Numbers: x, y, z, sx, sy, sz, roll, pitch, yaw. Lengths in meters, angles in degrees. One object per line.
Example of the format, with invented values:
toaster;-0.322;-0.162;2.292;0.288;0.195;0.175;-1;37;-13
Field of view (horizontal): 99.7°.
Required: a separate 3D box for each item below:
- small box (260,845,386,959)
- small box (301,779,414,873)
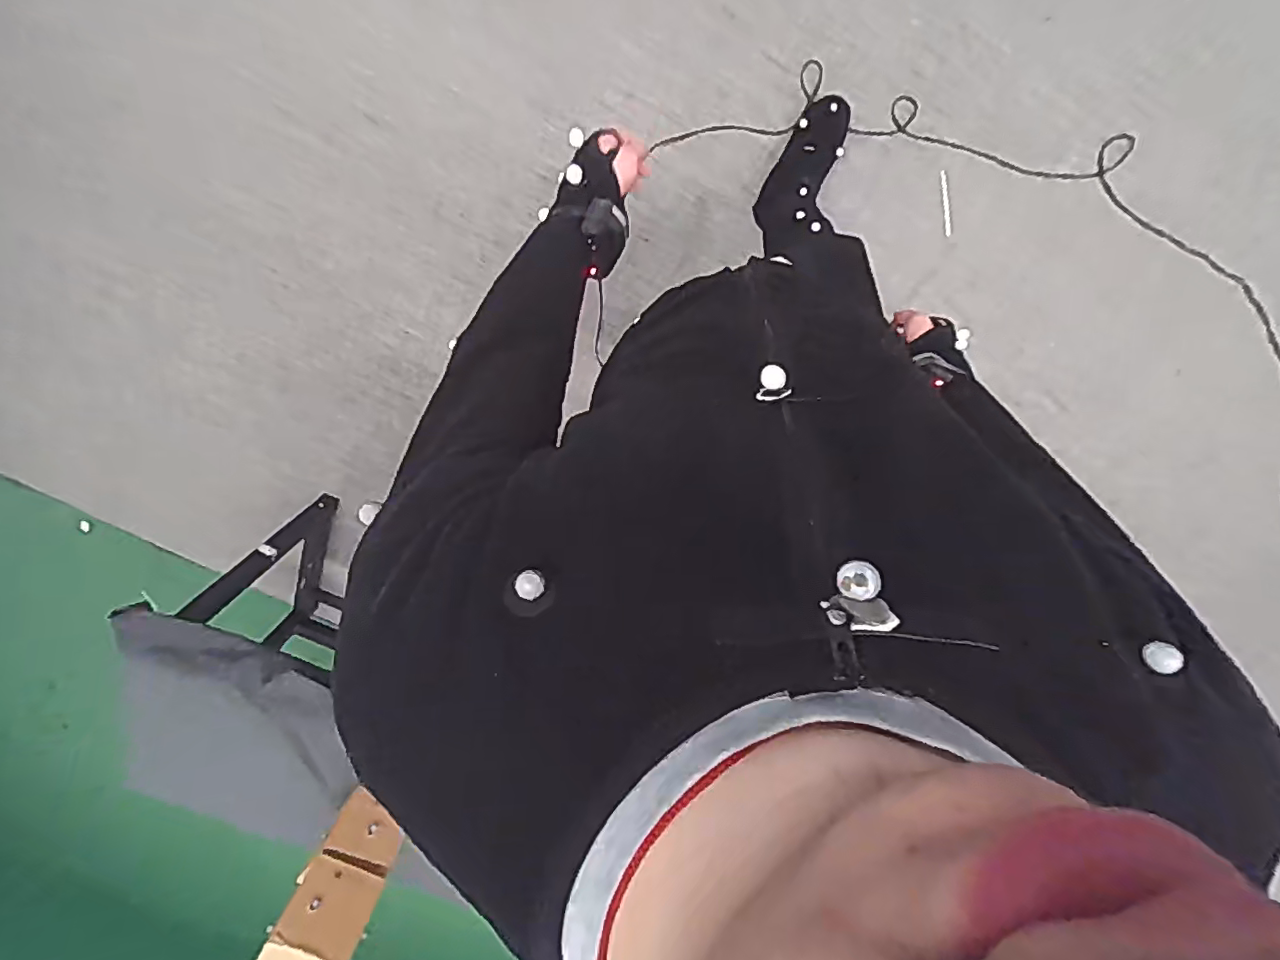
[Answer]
small box;-0.700;0.961;1.210;0.168;0.176;0.179;30;119;-8
small box;-0.701;0.894;1.361;0.168;0.176;0.179;35;117;-11
